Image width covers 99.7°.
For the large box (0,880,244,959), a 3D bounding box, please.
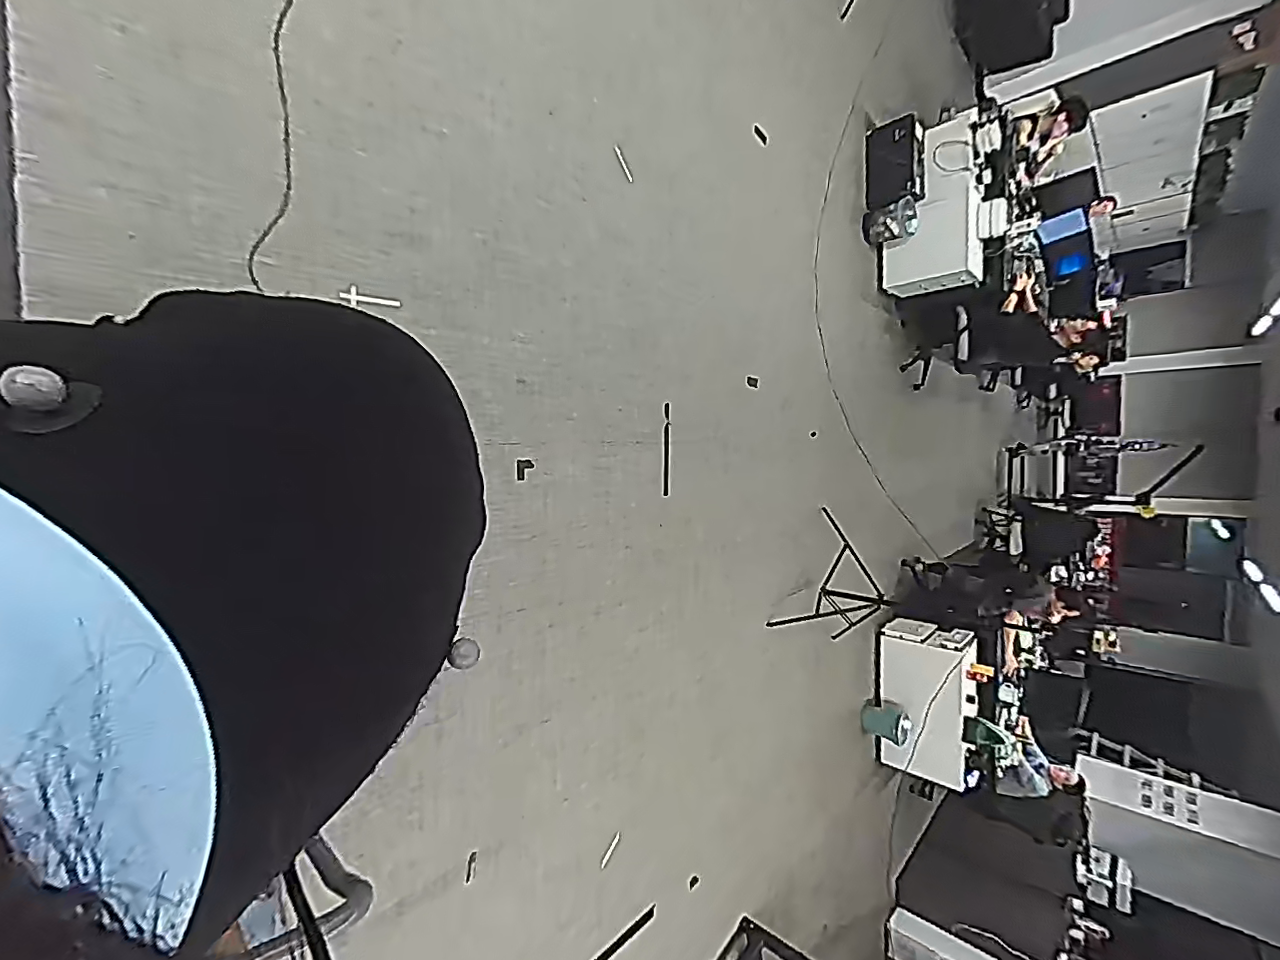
[{"bbox_3d":[-0.902,0.938,0.838,0.408,0.320,0.320,8,86,-48],"label":"large box"}]
